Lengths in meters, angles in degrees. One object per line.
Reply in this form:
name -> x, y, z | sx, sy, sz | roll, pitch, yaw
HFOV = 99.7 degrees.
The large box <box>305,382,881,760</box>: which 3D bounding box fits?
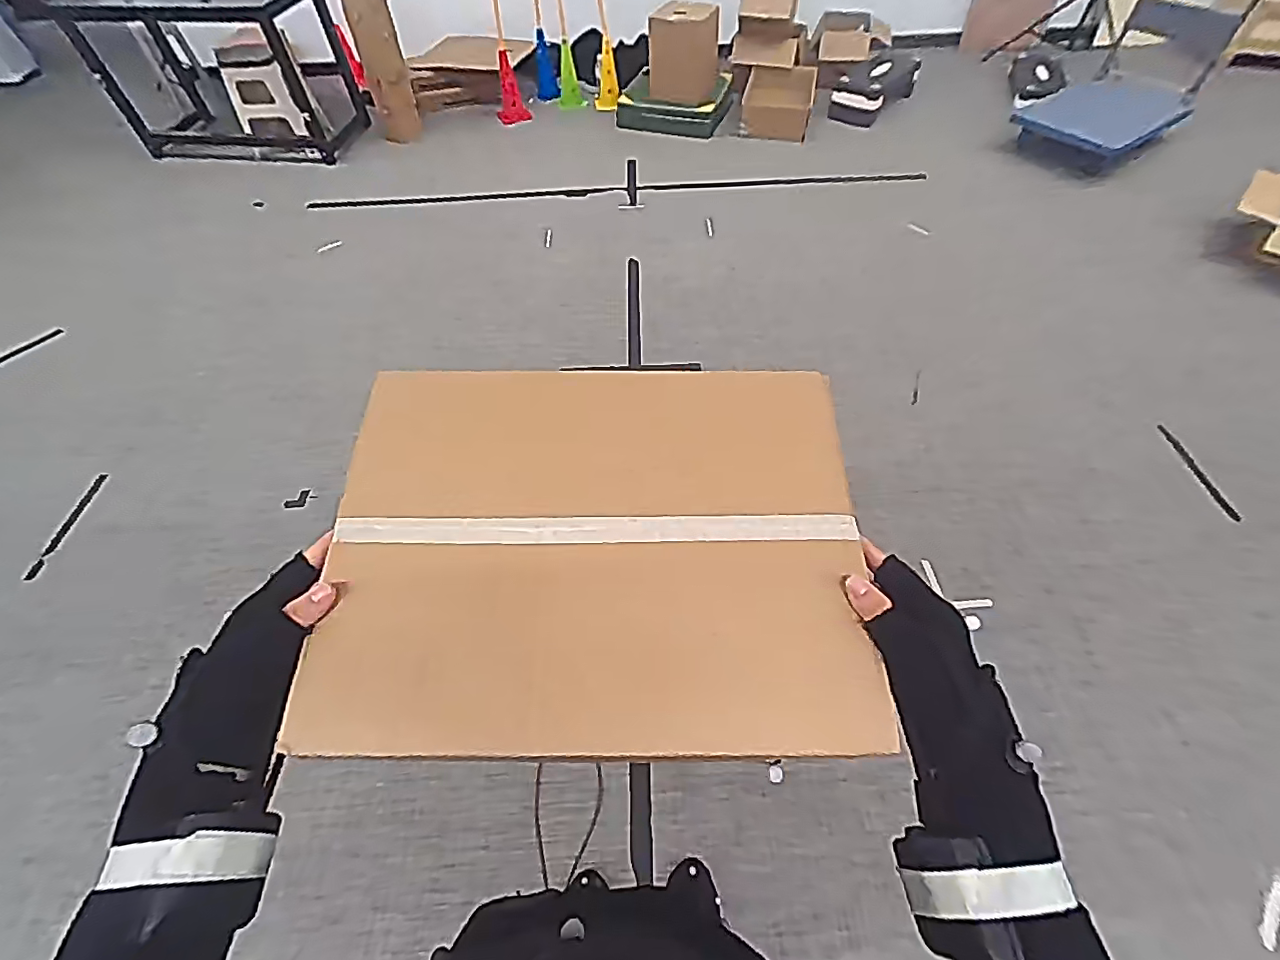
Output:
large box -> -0.031, 0.114, 0.567 | 0.408, 0.320, 0.320 | 0, 62, 0
